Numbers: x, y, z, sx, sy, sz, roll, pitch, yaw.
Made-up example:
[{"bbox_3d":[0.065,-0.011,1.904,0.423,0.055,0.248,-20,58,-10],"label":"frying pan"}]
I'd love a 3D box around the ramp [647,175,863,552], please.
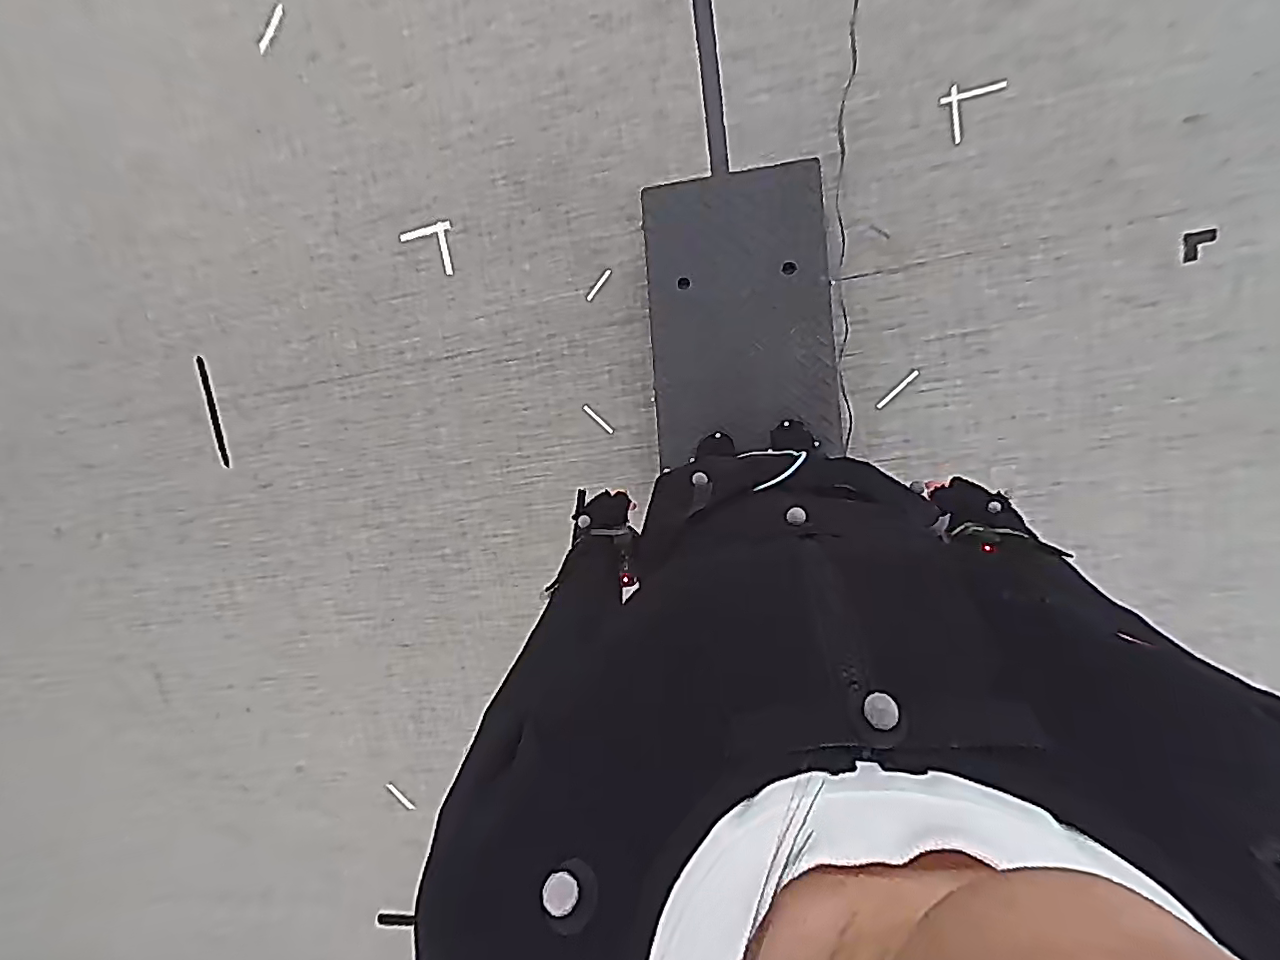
[{"bbox_3d":[0.295,-0.318,1.488,0.509,0.206,0.991,-8,95,13],"label":"ramp"}]
